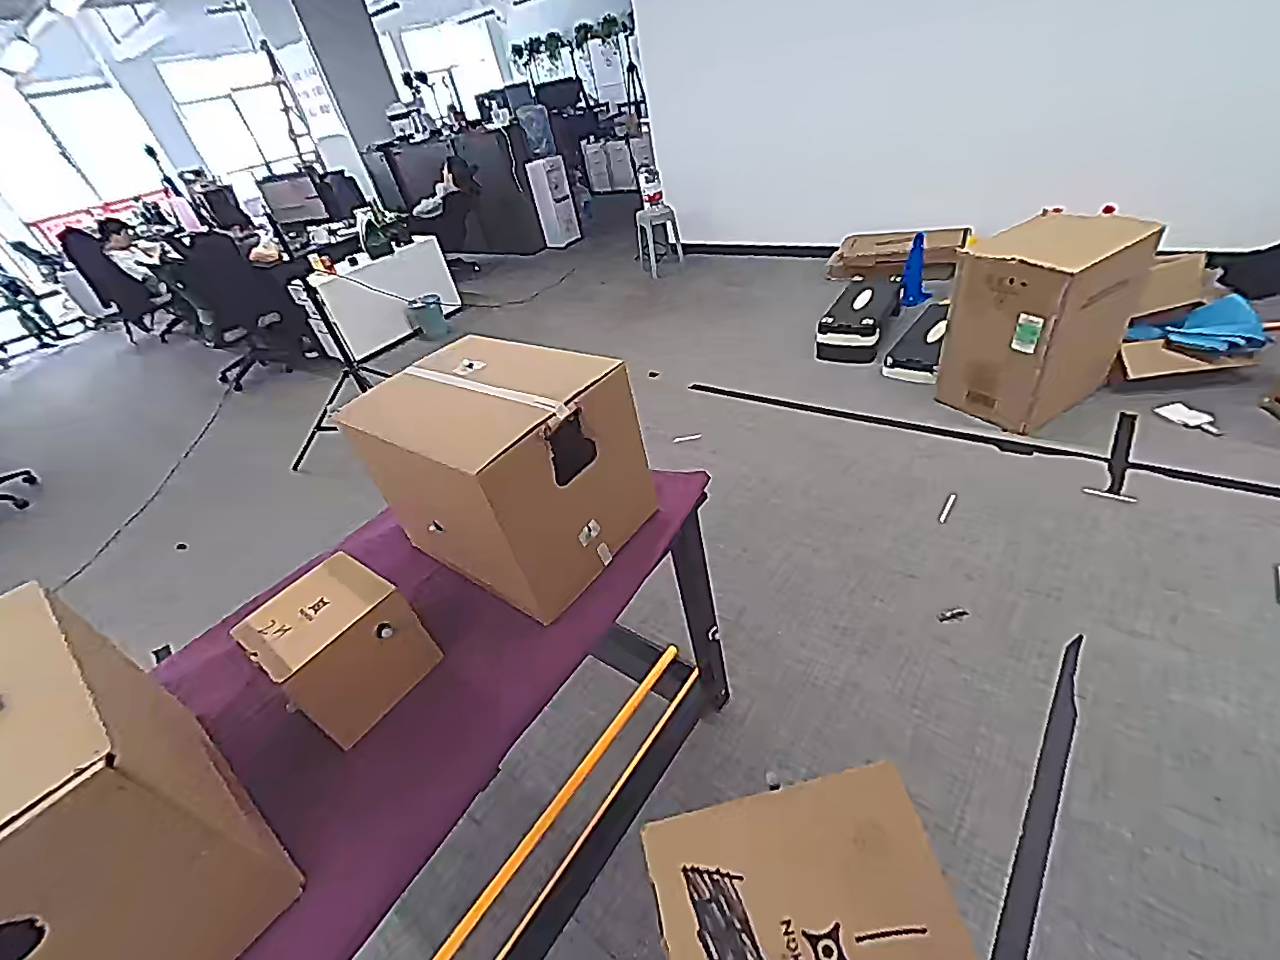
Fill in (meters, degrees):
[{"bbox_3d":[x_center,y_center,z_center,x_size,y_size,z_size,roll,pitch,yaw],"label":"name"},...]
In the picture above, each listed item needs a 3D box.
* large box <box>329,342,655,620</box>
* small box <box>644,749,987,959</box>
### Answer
[{"bbox_3d":[-0.238,-0.021,0.951,0.408,0.320,0.320,16,46,35],"label":"large box"},{"bbox_3d":[0.118,0.305,0.379,0.179,0.176,0.168,-17,57,3],"label":"small box"}]
